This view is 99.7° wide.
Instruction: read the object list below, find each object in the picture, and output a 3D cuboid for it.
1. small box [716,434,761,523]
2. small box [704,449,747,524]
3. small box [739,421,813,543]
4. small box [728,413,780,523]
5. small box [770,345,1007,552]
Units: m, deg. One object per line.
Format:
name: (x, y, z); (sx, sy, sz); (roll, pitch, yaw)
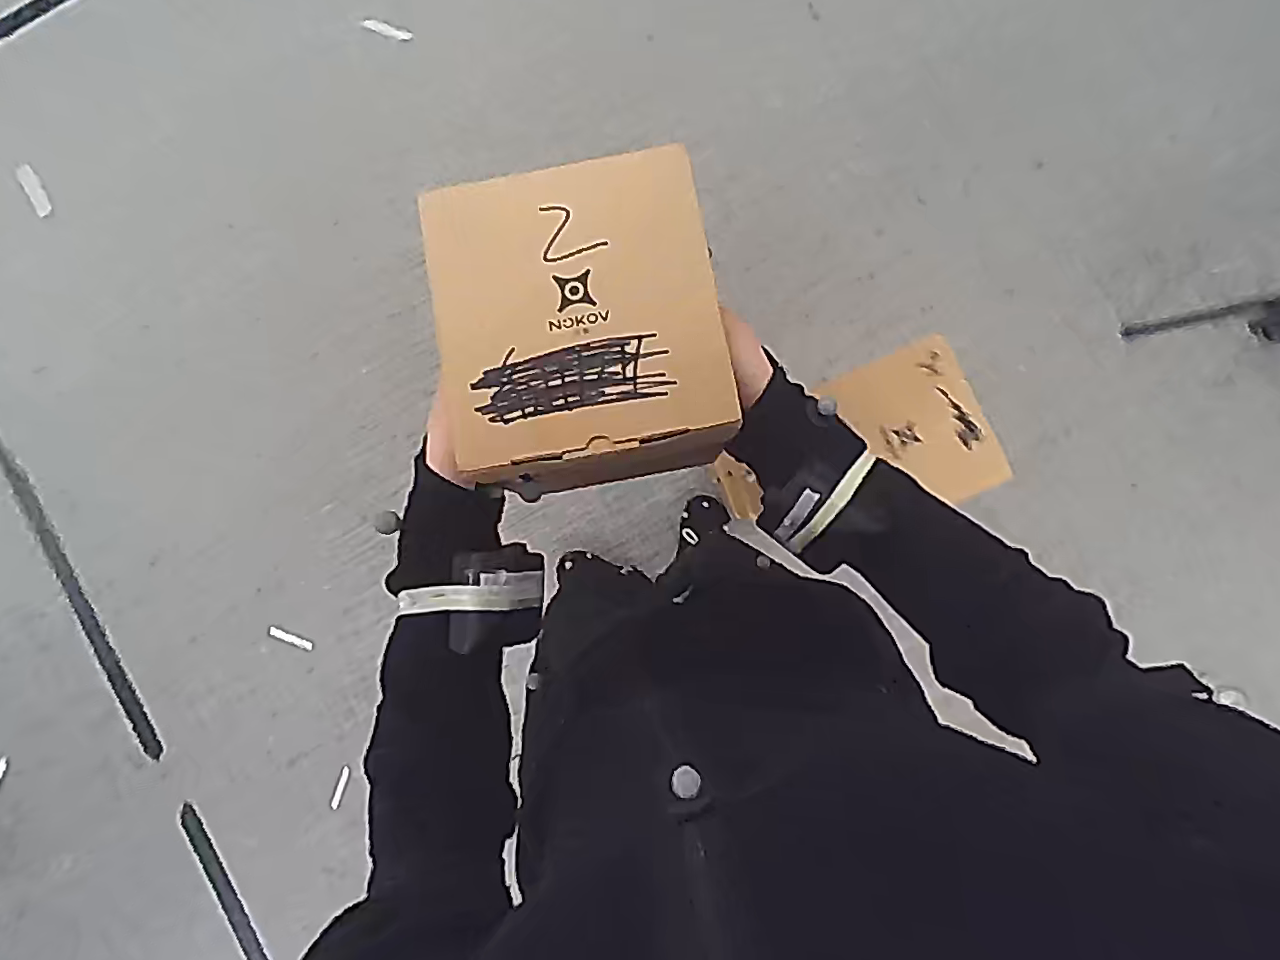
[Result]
small box: (0.264, -0.017, 1.119); (0.168, 0.176, 0.179); (-18, 87, 2)
small box: (0.261, -0.008, 1.283); (0.168, 0.176, 0.179); (-21, 87, 1)
small box: (0.262, -0.019, 0.793); (0.179, 0.176, 0.168); (-22, 86, 3)
small box: (0.265, -0.027, 0.957); (0.168, 0.176, 0.179); (-21, 88, 2)
small box: (0.264, -0.028, 0.629); (0.179, 0.176, 0.168); (-24, 87, 2)
